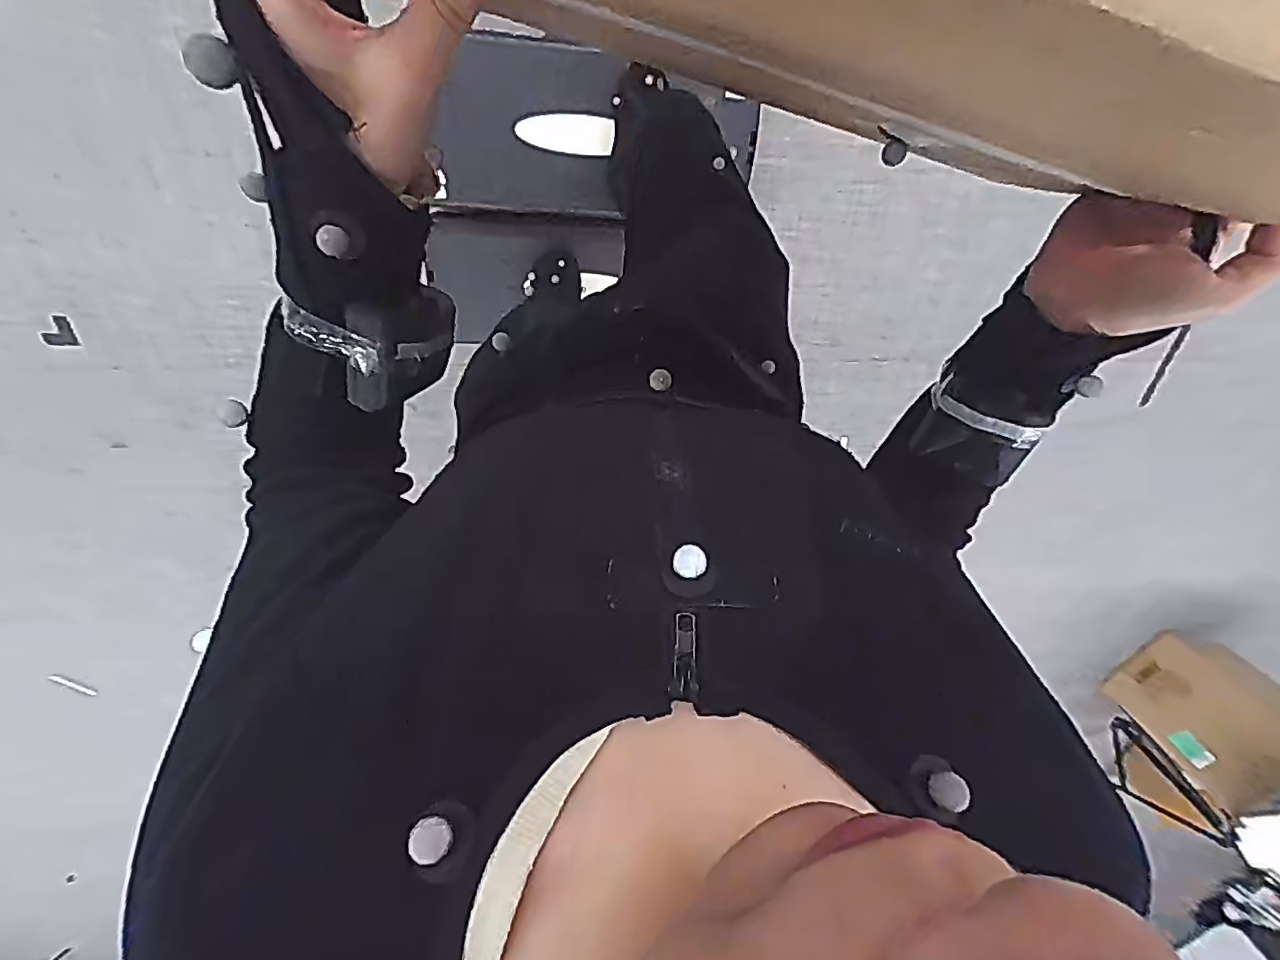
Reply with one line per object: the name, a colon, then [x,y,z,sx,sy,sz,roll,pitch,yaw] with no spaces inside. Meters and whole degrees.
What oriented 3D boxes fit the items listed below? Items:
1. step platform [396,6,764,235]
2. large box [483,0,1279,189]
step platform: [-0.109,-0.685,1.070,0.684,0.204,0.286,3,122,-12]
large box: [0.106,-0.304,0.145,0.408,0.320,0.320,8,123,-11]
